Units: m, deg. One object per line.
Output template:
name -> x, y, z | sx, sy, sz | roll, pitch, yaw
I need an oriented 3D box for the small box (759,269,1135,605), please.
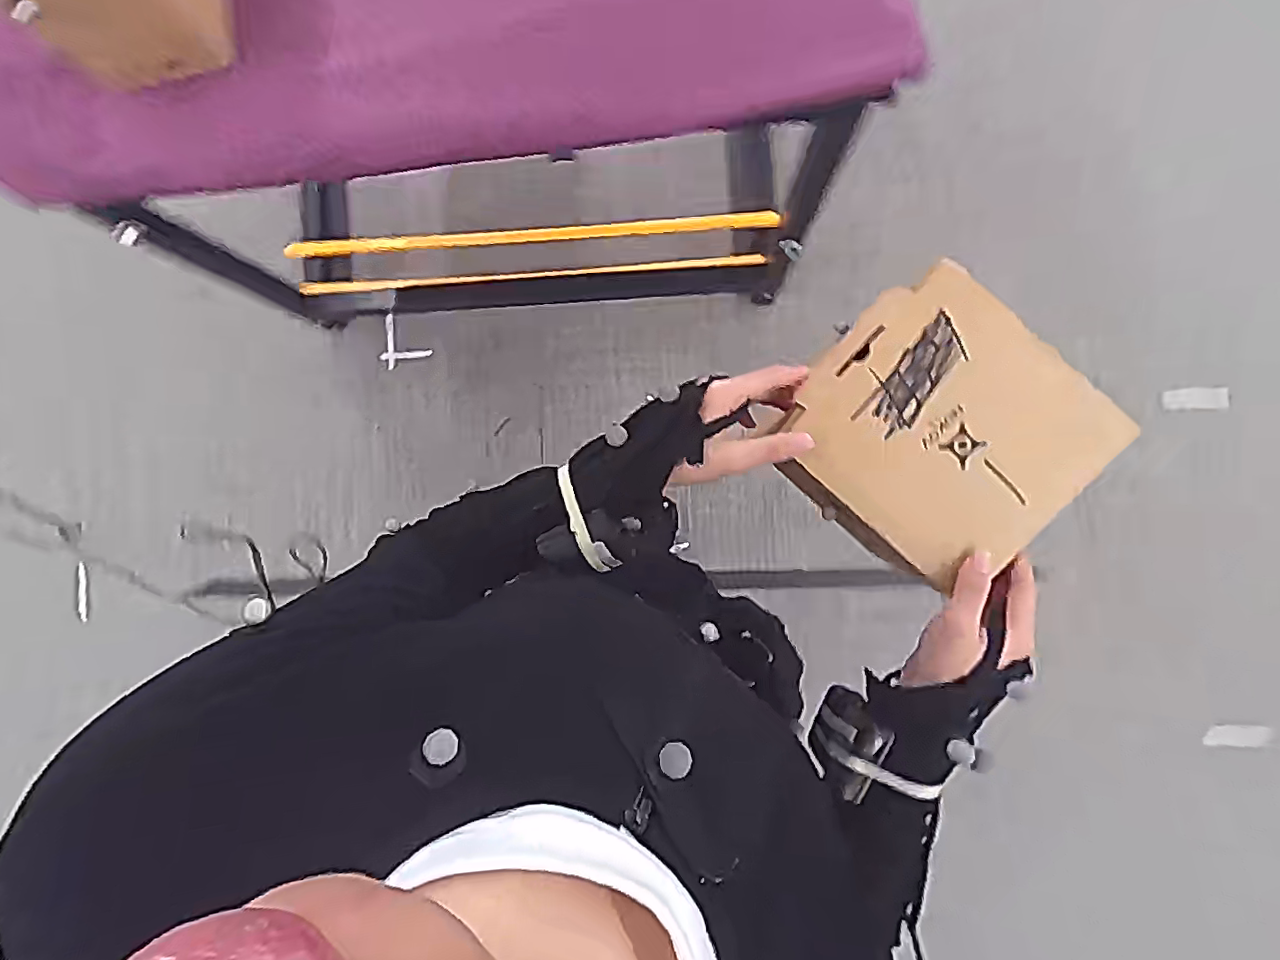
small box -> 0.221, -0.032, 0.449 | 0.179, 0.176, 0.168 | 43, 96, 0
